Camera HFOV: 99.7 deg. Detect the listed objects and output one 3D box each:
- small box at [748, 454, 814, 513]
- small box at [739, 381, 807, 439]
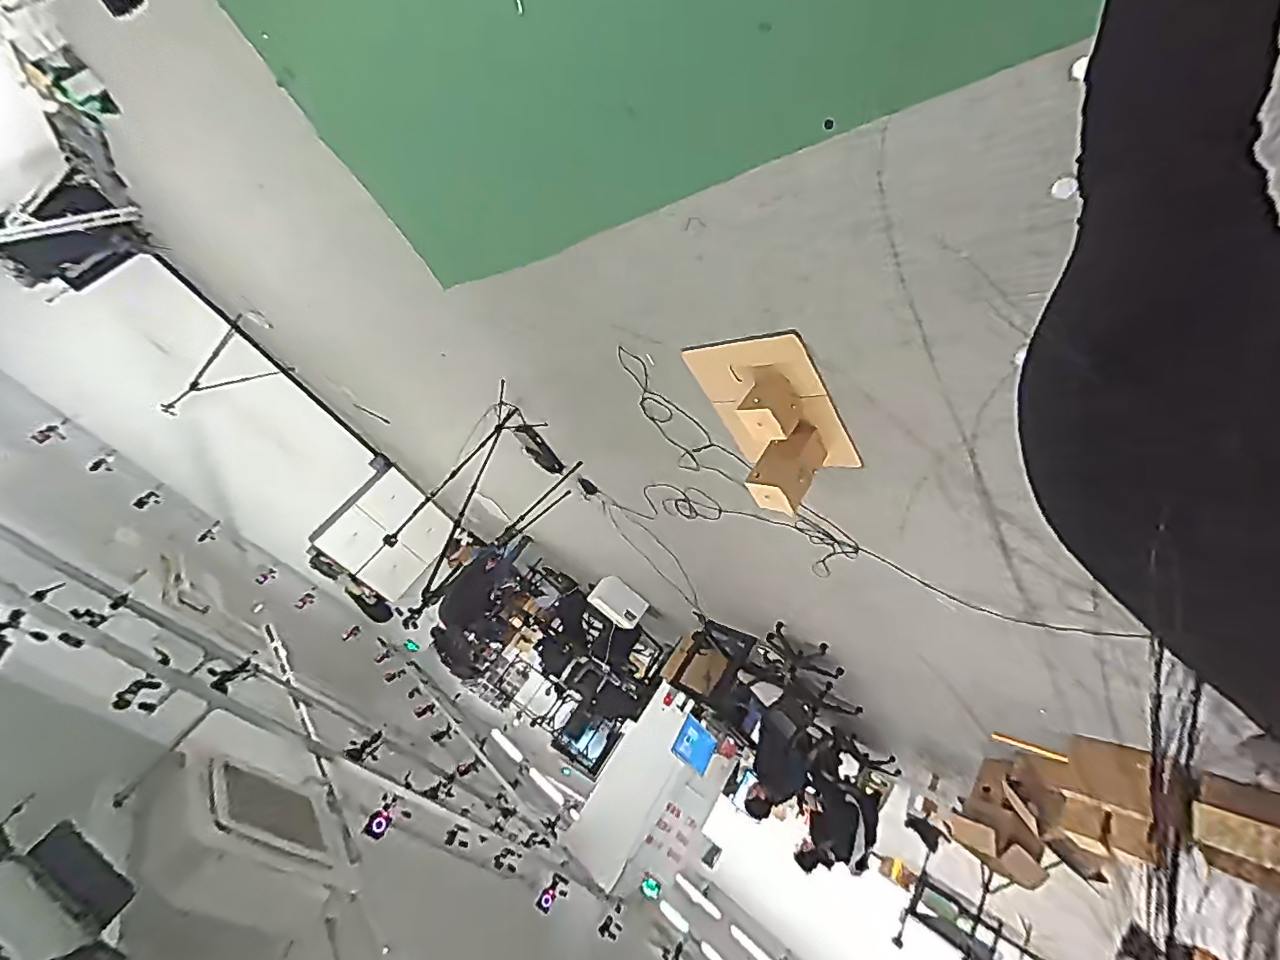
[{"bbox_3d":[0.582,0.009,2.225,0.179,0.176,0.168,9,145,49],"label":"small box"},{"bbox_3d":[0.537,-0.281,2.174,0.179,0.176,0.168,4,140,52],"label":"small box"}]
